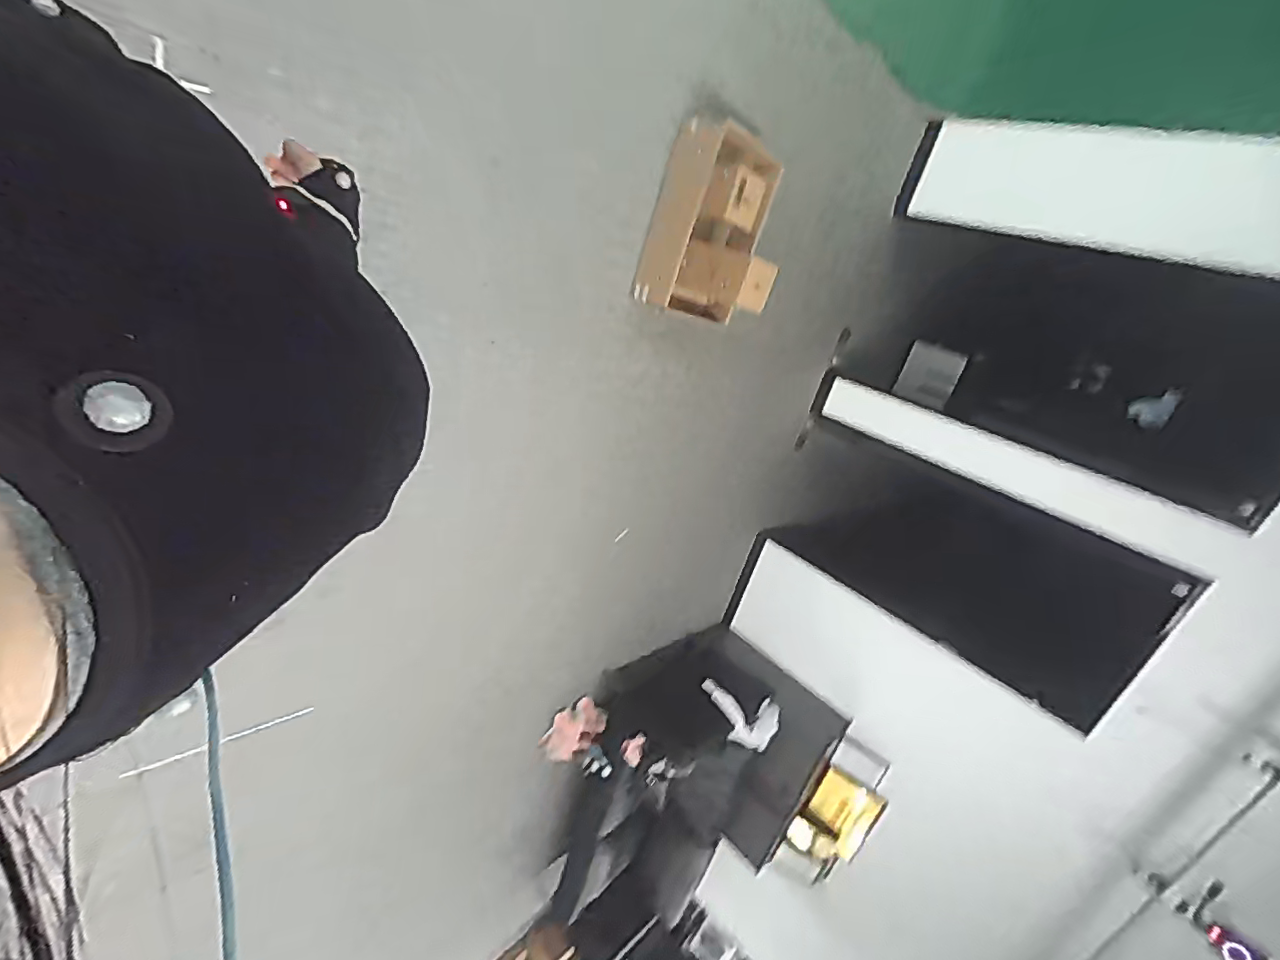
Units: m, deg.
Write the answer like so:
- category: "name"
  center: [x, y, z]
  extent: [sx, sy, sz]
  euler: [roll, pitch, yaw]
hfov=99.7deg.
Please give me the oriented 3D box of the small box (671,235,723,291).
- category: "small box"
  center: [0.249, -0.800, 2.018]
  extent: [0.179, 0.176, 0.168]
  euler: [-4, 118, -47]

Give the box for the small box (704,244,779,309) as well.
- category: "small box"
  center: [0.355, -0.725, 1.920]
  extent: [0.179, 0.176, 0.168]
  euler: [-4, 120, -47]
